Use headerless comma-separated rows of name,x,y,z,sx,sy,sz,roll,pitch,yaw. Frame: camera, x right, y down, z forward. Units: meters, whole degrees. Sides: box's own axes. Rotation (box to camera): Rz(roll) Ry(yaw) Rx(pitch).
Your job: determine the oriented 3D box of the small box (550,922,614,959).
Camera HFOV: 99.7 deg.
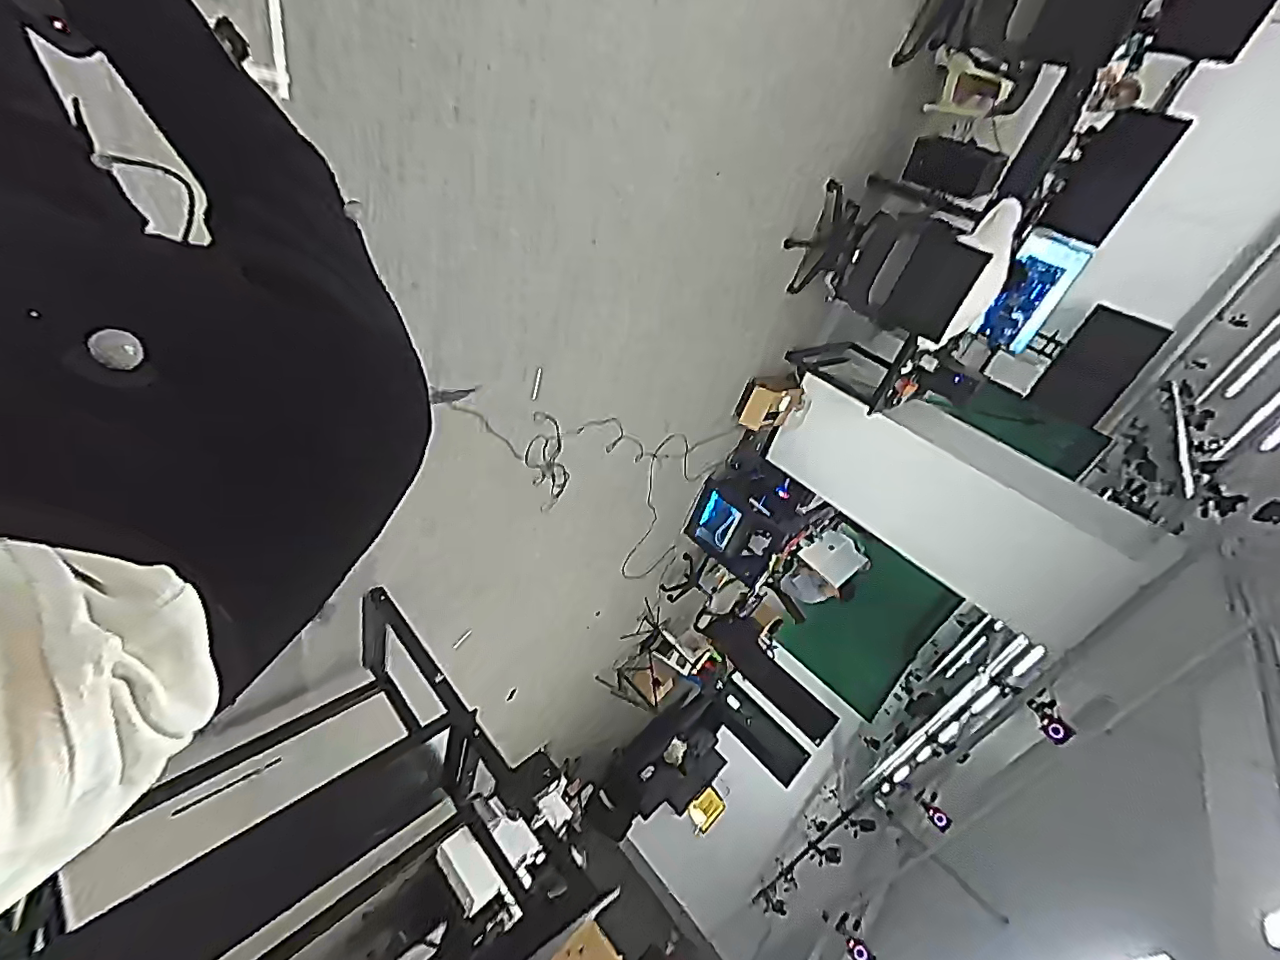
small box,-0.171,1.459,1.593,0.168,0.176,0.179,-26,143,-37
